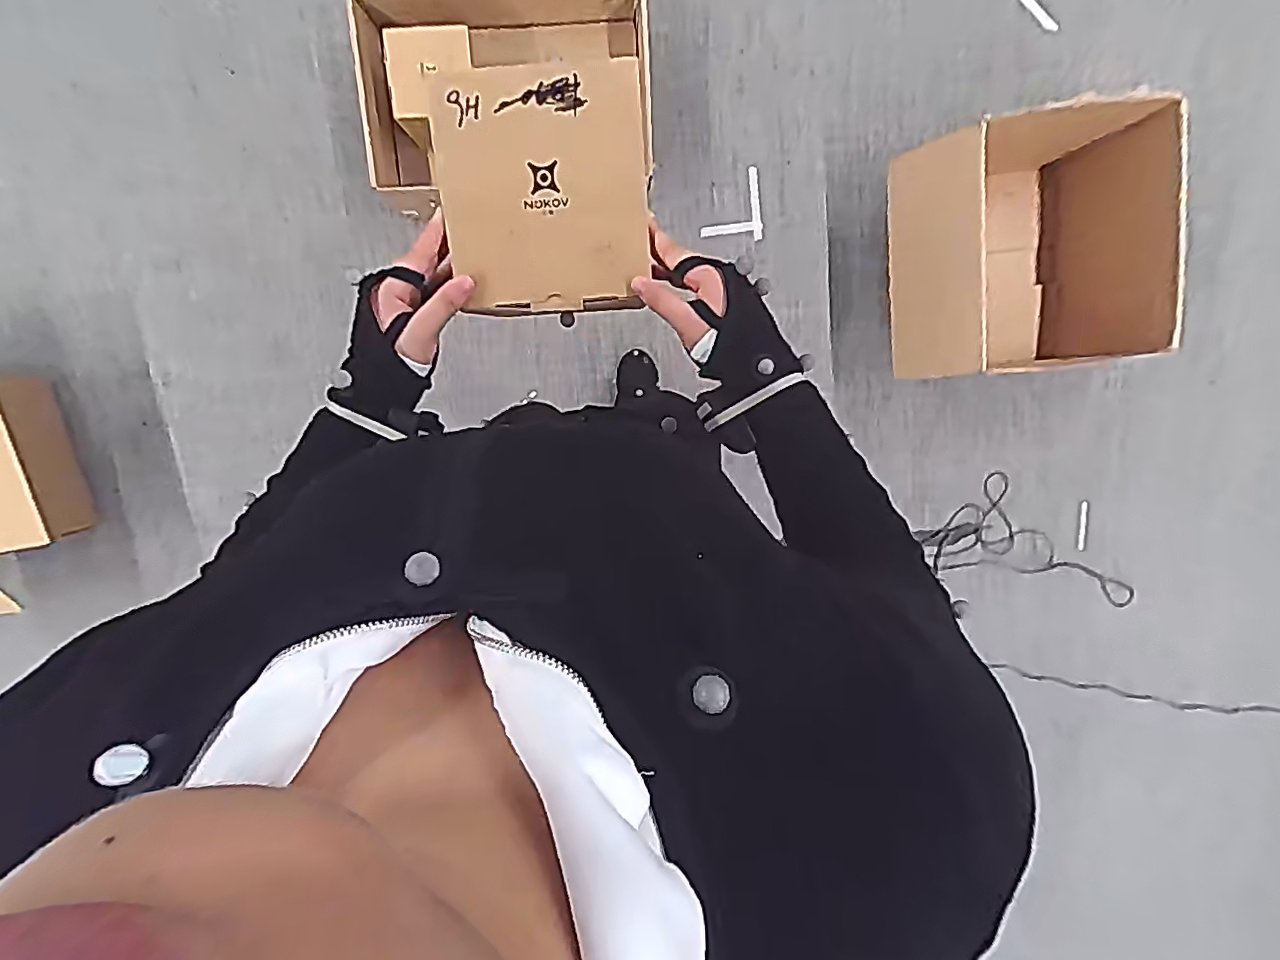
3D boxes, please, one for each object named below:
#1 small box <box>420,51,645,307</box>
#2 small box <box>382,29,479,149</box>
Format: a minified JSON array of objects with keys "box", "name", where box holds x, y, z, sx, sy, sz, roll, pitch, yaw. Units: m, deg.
[{"box":[-0.082,-0.258,0.506,0.168,0.176,0.179,-4,106,-1],"name":"small box"},{"box":[-0.438,-0.852,1.196,0.179,0.176,0.168,-4,102,-2],"name":"small box"}]
